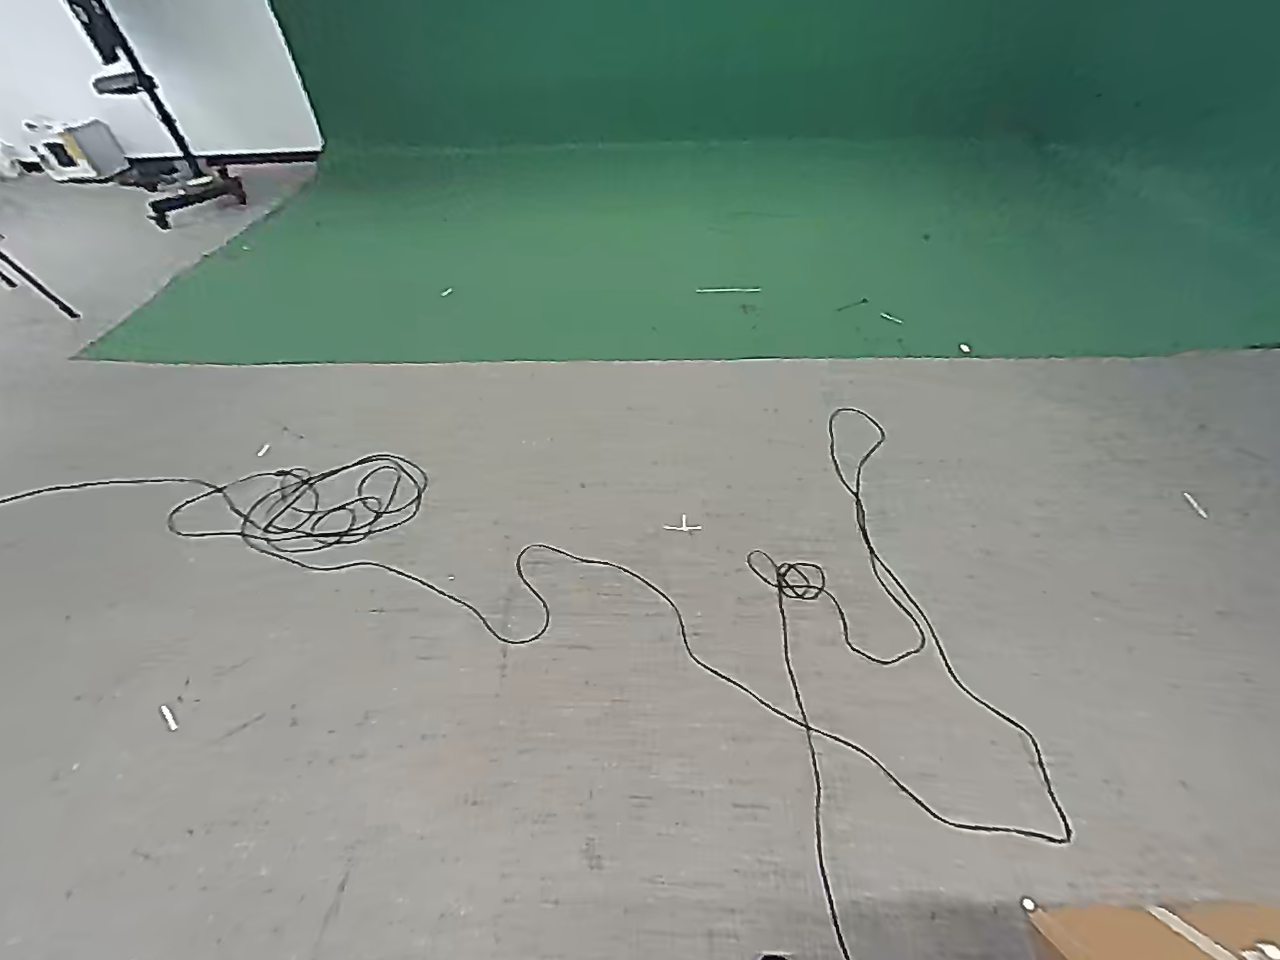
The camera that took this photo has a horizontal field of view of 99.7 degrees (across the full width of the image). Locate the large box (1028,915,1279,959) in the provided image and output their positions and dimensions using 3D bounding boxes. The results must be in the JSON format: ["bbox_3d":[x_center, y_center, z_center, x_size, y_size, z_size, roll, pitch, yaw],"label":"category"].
[{"bbox_3d":[0.674,0.696,0.506,0.320,0.408,0.320,-7,74,8],"label":"large box"}]
